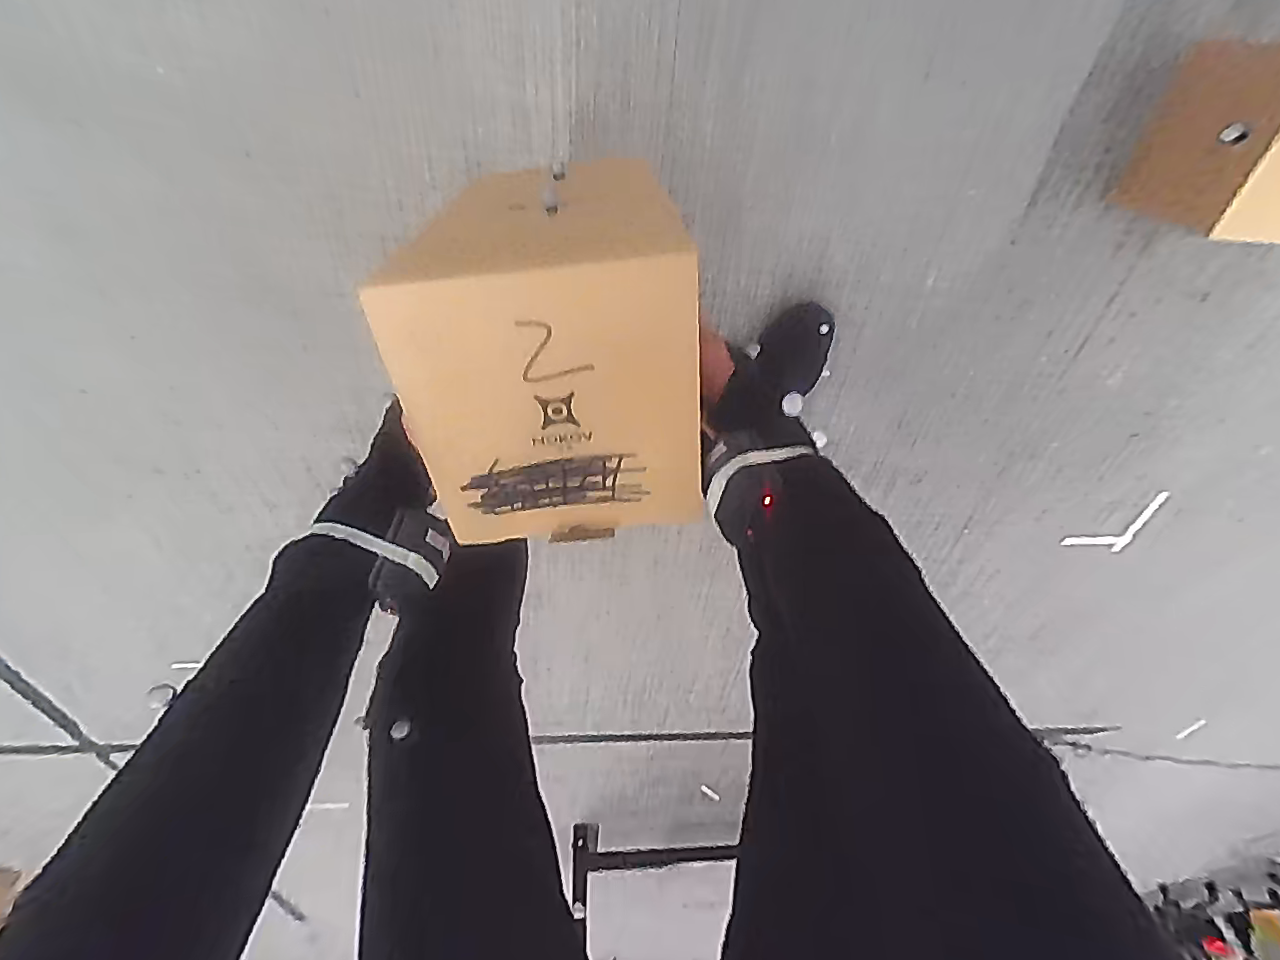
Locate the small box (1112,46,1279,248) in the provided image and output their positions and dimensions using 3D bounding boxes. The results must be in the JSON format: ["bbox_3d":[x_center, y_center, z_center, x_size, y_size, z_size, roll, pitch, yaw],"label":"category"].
[{"bbox_3d":[0.713,-0.385,0.626,0.168,0.176,0.179,1,128,-5],"label":"small box"}]
